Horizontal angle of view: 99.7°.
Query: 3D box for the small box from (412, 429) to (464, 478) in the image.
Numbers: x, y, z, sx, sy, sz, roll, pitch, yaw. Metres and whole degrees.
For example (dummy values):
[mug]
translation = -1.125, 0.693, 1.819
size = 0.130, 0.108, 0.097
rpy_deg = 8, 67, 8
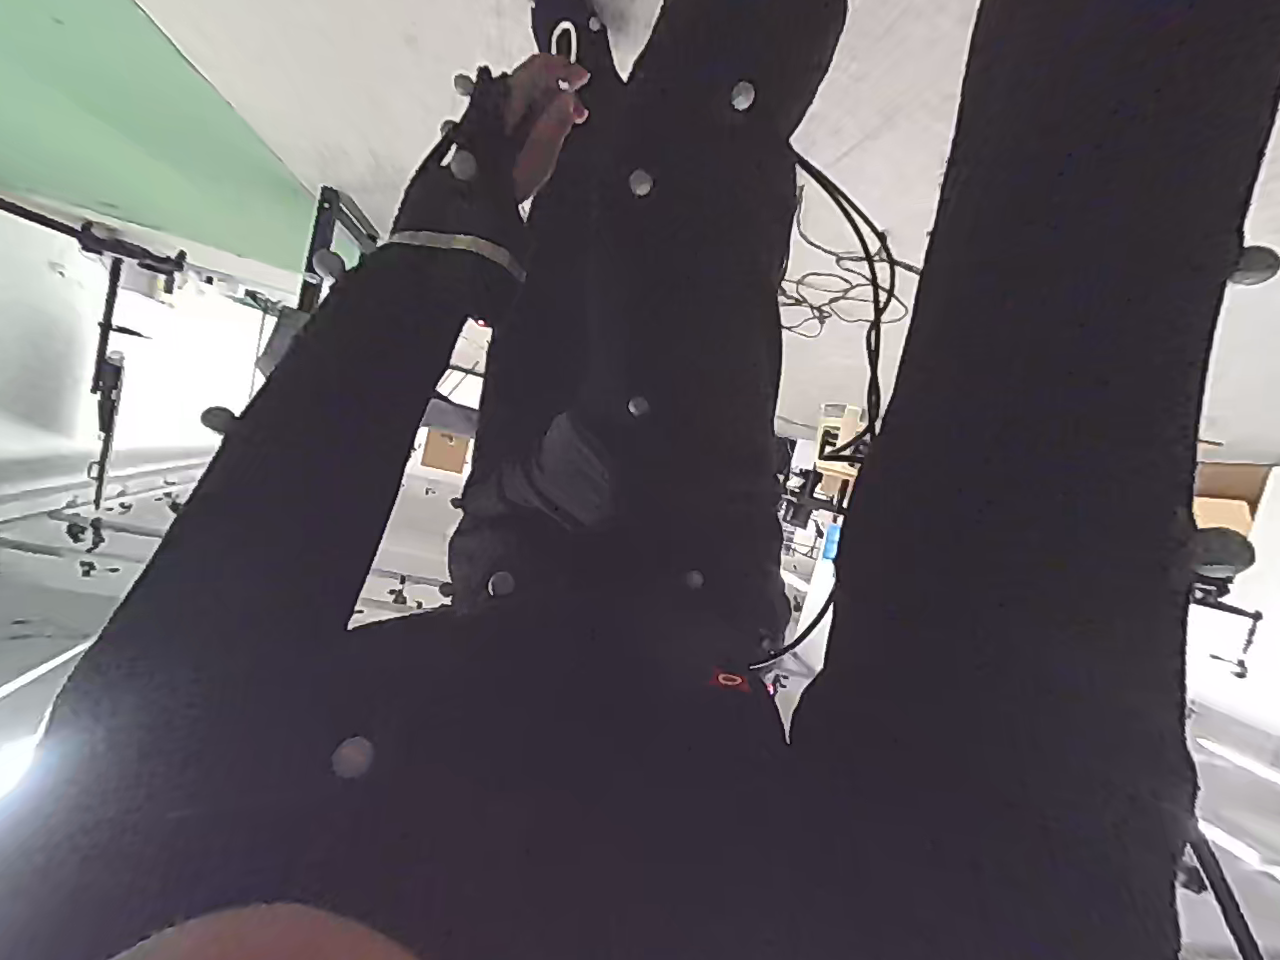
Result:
[small box]
translation = -0.825, -0.114, 2.223
size = 0.168, 0.176, 0.179
rpy_deg = 12, -177, -16
